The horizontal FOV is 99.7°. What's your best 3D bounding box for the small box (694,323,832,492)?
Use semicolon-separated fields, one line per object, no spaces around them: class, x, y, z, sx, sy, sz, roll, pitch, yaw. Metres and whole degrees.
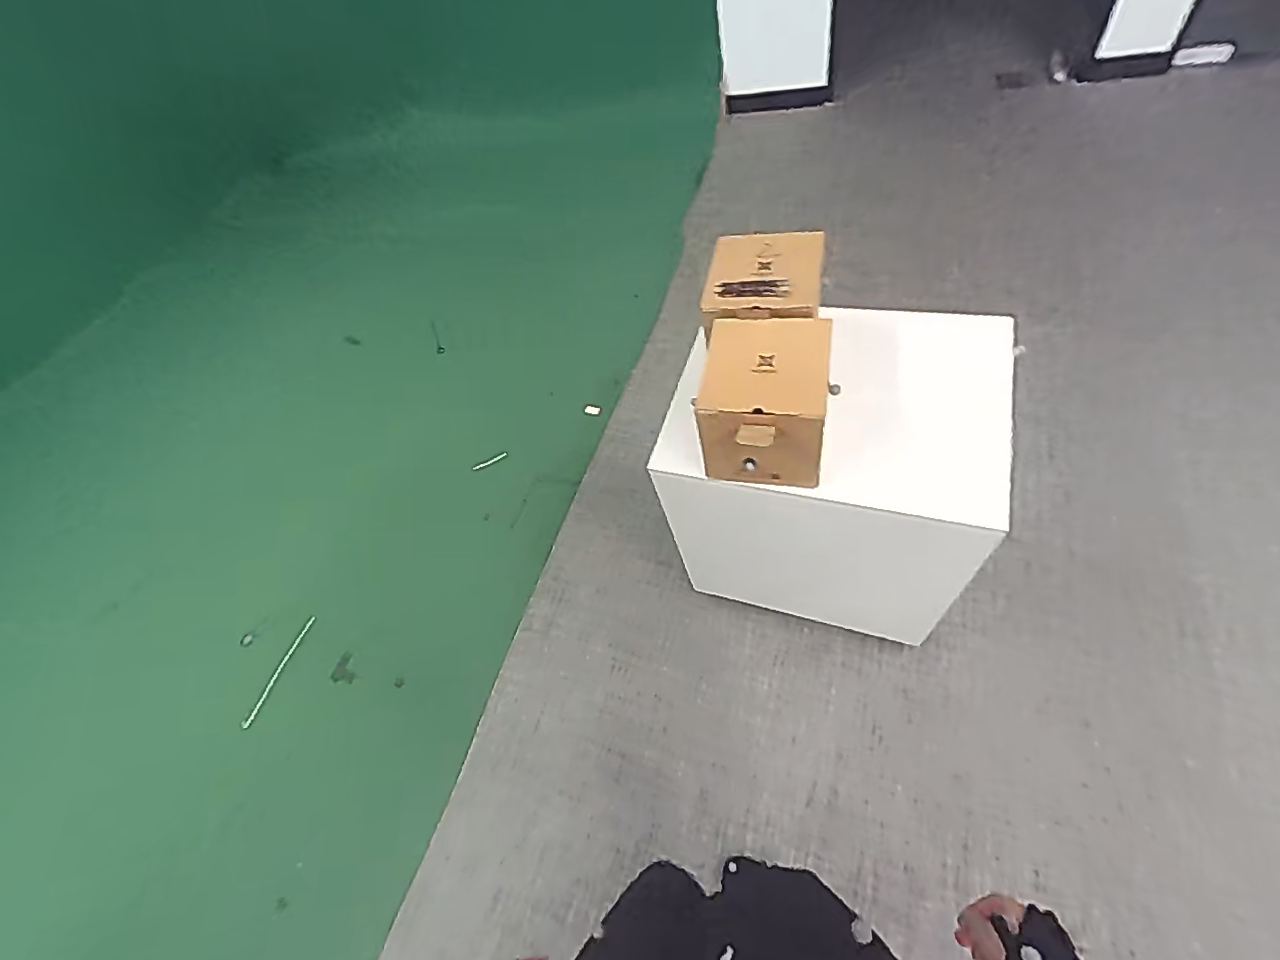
small box;0.182;-0.105;0.788;0.168;0.176;0.179;5;59;17
